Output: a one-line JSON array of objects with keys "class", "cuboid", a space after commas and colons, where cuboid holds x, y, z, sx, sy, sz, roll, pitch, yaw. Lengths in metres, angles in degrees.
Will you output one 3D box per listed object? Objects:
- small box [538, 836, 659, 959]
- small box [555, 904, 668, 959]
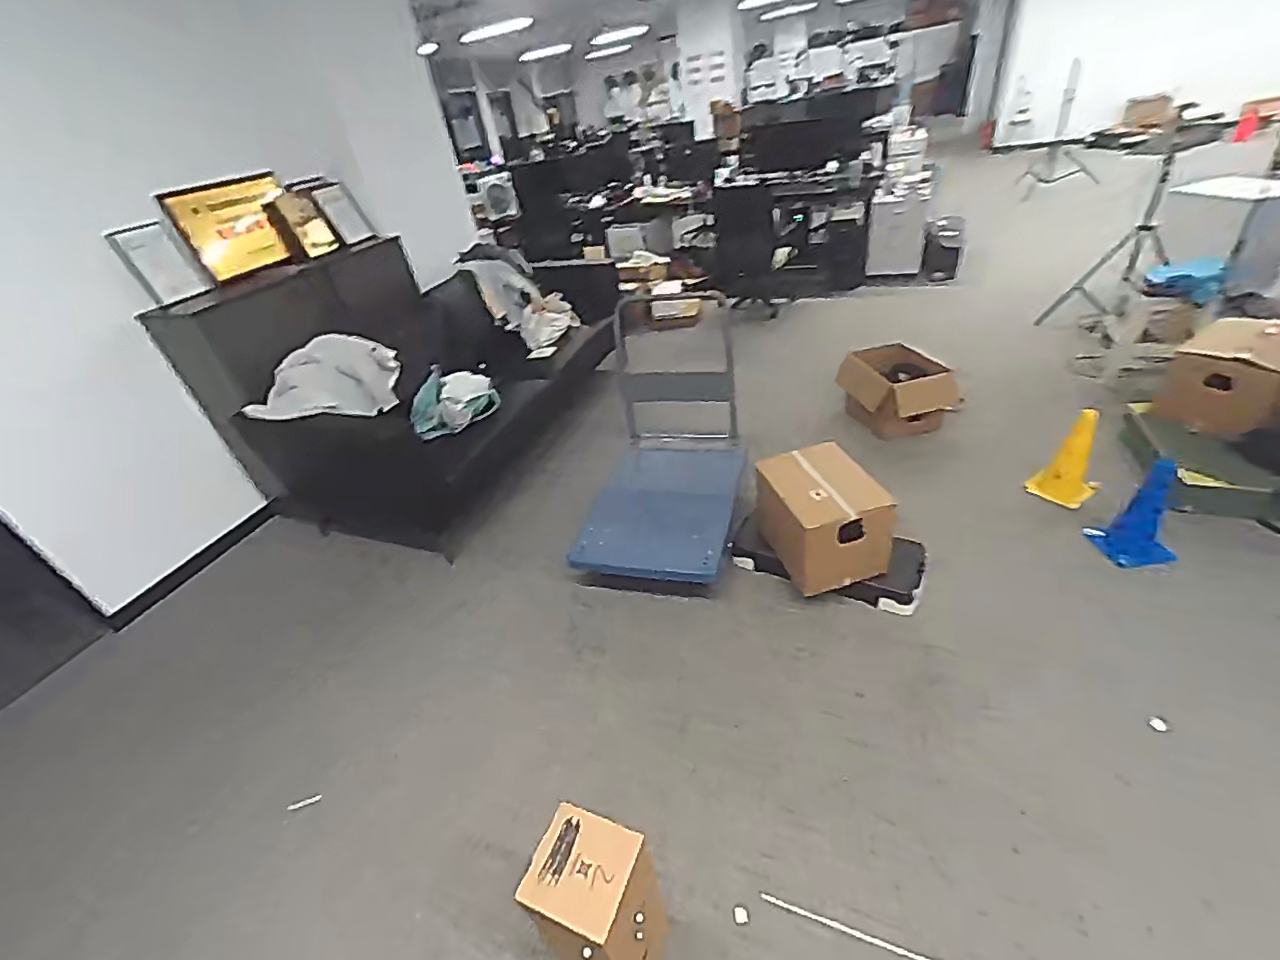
[{"class": "small box", "cuboid": [-0.070, 0.860, 1.068, 0.168, 0.176, 0.179, 8, 39, 24]}, {"class": "small box", "cuboid": [-0.052, 0.993, 1.163, 0.179, 0.176, 0.168, 7, 39, 24]}]
